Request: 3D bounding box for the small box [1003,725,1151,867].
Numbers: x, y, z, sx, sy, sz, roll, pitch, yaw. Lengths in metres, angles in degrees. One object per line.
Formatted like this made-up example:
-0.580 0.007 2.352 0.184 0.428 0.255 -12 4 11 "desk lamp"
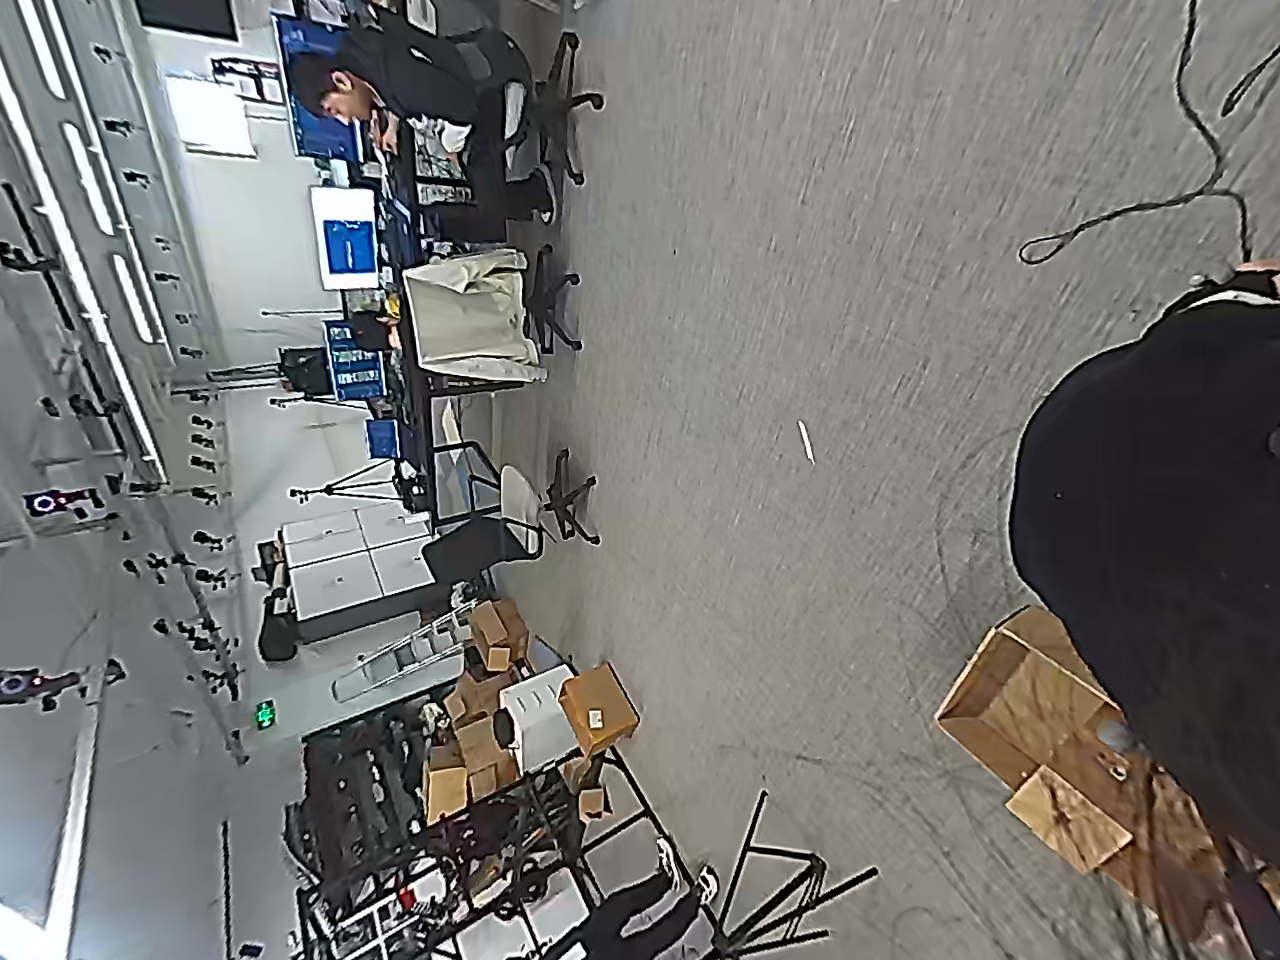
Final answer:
0.940 0.673 1.164 0.168 0.176 0.179 42 135 42 "small box"
